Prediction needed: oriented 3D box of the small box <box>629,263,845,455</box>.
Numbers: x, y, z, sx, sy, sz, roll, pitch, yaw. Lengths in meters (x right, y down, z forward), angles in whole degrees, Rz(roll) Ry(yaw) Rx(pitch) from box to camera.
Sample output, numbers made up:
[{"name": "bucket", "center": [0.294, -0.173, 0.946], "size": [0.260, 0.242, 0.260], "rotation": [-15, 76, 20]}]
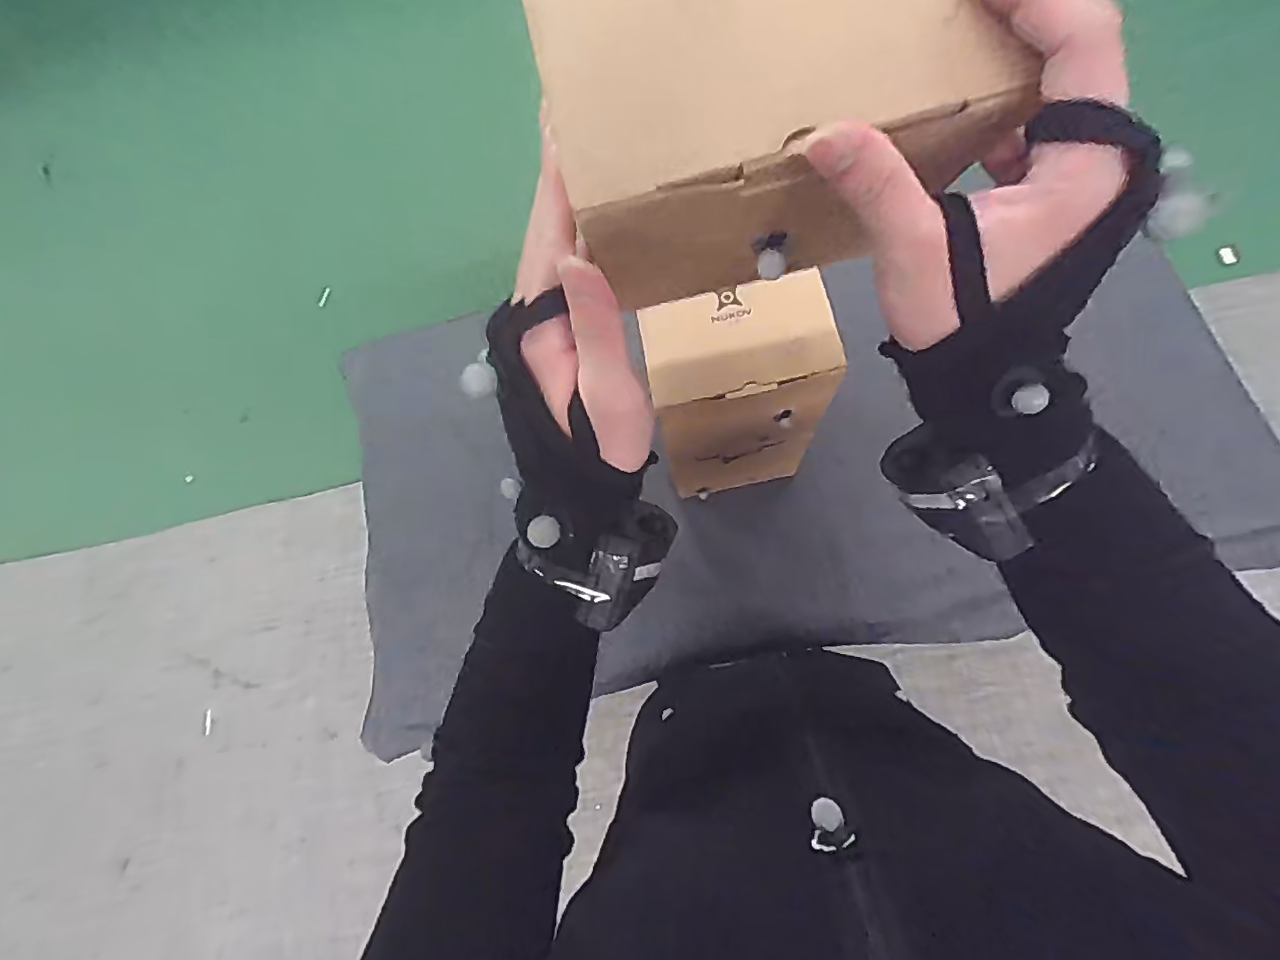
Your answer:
[{"name": "small box", "center": [0.086, -0.135, 0.546], "size": [0.168, 0.176, 0.179], "rotation": [-12, 73, 3]}]

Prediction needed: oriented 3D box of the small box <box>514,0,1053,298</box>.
[{"name": "small box", "center": [0.041, -0.197, 0.252], "size": [0.168, 0.176, 0.179], "rotation": [-12, 94, 6]}]

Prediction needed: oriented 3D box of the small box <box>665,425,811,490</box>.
[{"name": "small box", "center": [0.109, -0.094, 0.701], "size": [0.168, 0.176, 0.179], "rotation": [-13, 74, 5]}]
